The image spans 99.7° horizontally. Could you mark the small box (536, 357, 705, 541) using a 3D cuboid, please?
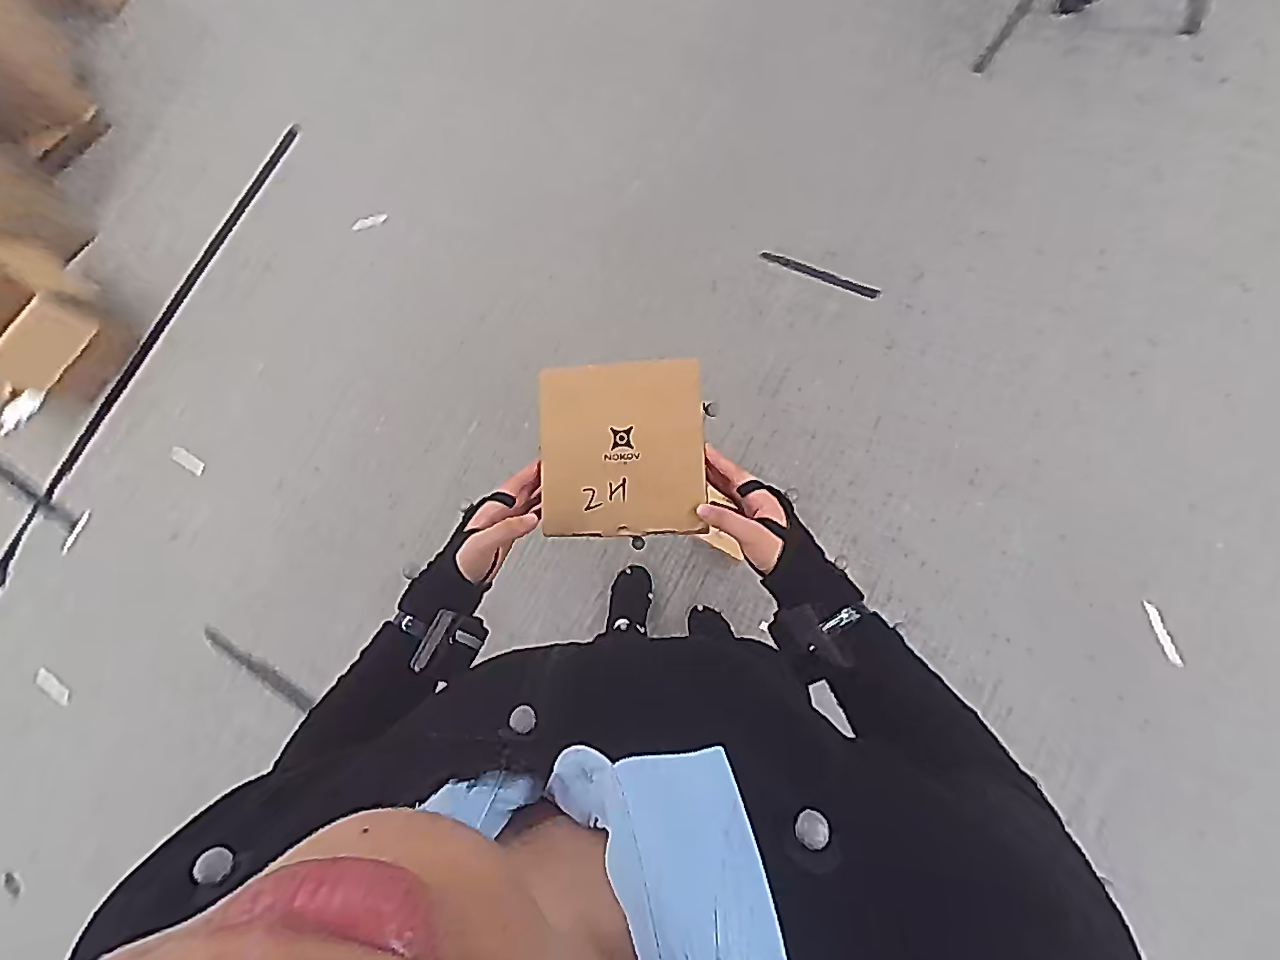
[{"bbox_3d":[-0.013,-0.022,0.610,0.168,0.176,0.179,-3,83,7],"label":"small box"}]
